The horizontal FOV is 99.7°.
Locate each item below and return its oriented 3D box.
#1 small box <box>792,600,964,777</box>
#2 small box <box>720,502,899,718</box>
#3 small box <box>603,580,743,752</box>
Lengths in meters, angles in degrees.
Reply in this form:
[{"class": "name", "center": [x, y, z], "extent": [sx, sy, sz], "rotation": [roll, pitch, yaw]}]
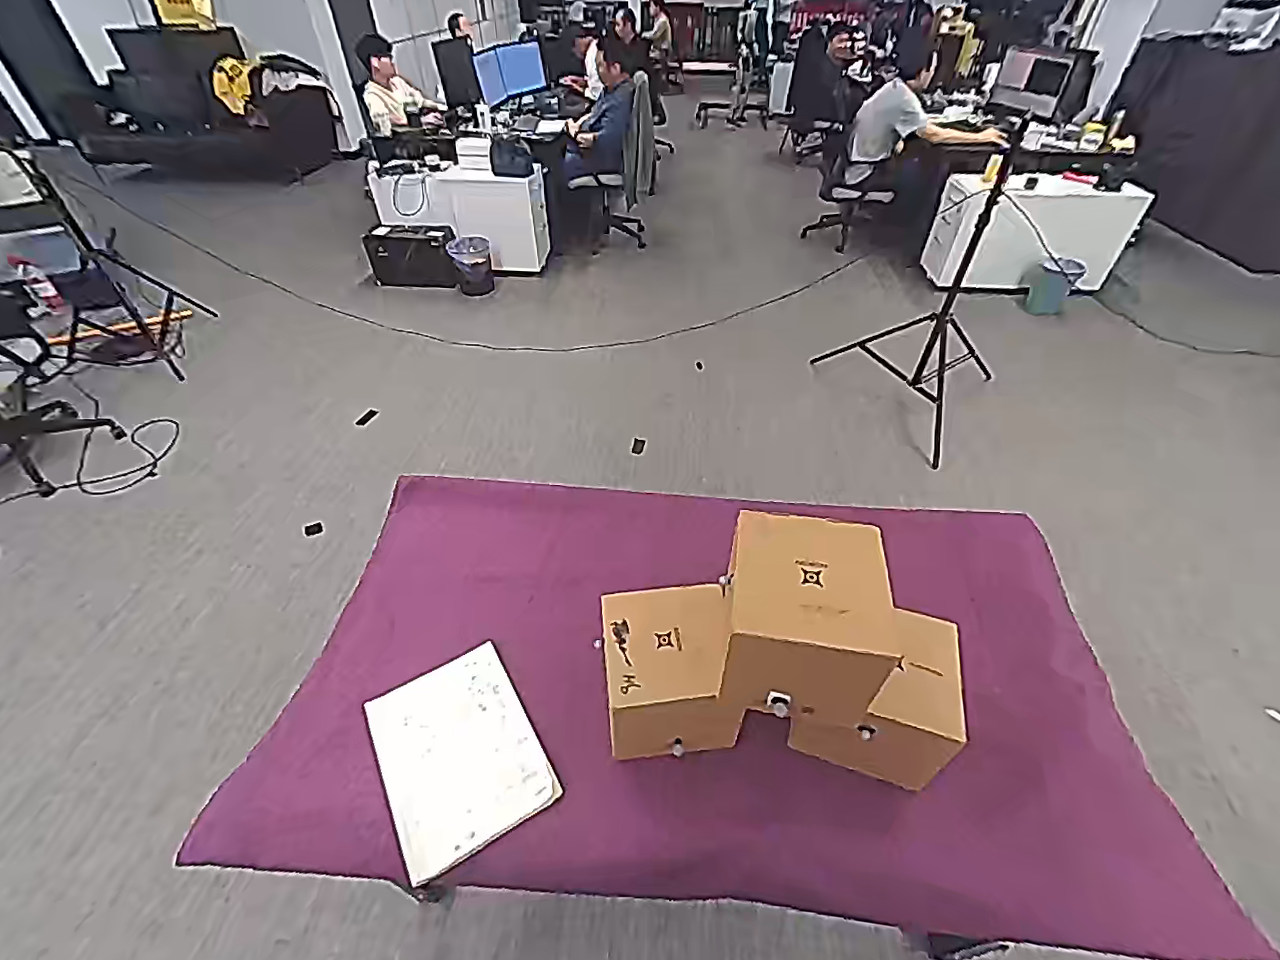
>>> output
[{"class": "small box", "center": [0.317, 0.277, 0.746], "extent": [0.179, 0.176, 0.168], "rotation": [13, 45, 15]}, {"class": "small box", "center": [0.186, 0.152, 0.644], "extent": [0.168, 0.176, 0.179], "rotation": [6, 44, 9]}, {"class": "small box", "center": [0.040, 0.263, 0.765], "extent": [0.179, 0.176, 0.168], "rotation": [-4, 42, -6]}]
